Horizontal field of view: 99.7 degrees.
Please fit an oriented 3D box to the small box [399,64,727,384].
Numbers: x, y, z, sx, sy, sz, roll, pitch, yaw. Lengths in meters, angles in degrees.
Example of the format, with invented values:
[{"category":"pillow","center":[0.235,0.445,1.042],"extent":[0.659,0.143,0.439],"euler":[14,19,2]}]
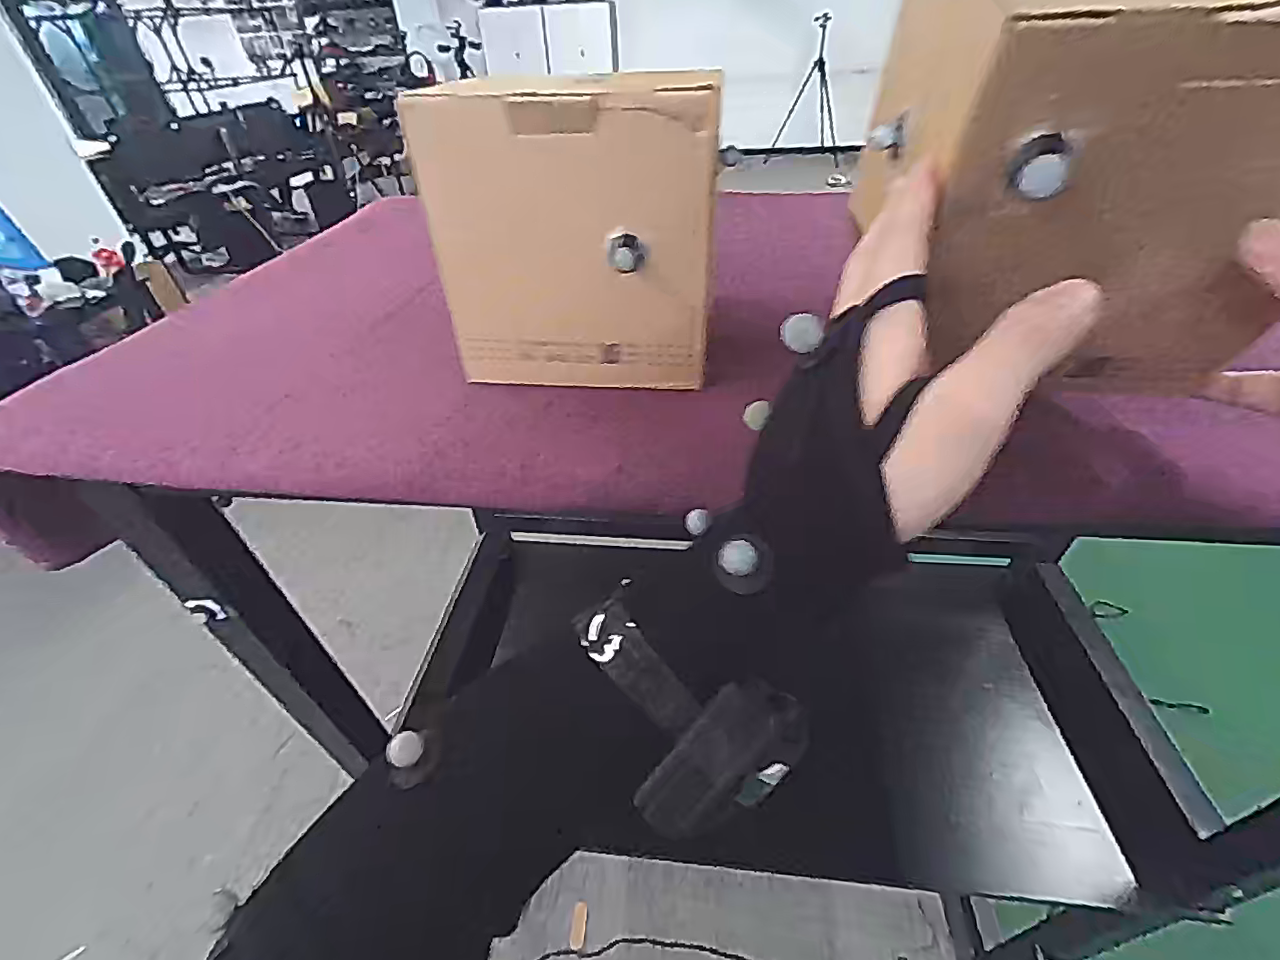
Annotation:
[{"category":"small box","center":[-0.030,-0.182,0.381],"extent":[0.168,0.176,0.179],"euler":[6,39,7]}]
